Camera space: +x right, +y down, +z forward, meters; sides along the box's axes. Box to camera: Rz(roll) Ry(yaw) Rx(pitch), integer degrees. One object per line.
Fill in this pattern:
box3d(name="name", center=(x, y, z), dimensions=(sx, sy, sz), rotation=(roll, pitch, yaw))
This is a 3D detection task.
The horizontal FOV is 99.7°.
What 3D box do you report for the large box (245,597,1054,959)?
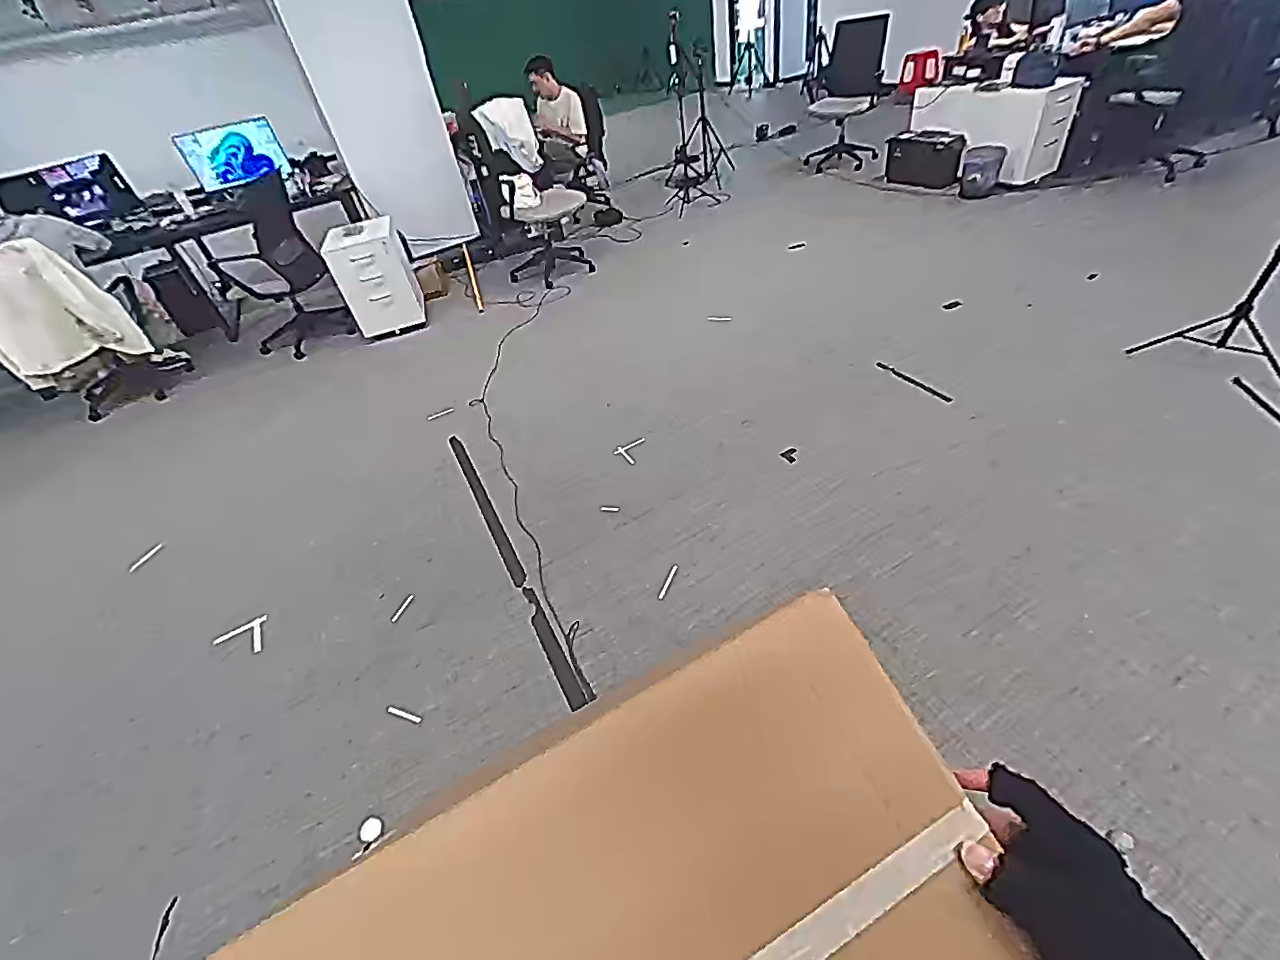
box3d(name="large box", center=(0.017, 0.346, 0.433), dimensions=(0.408, 0.320, 0.320), rotation=(-27, 75, -12))
